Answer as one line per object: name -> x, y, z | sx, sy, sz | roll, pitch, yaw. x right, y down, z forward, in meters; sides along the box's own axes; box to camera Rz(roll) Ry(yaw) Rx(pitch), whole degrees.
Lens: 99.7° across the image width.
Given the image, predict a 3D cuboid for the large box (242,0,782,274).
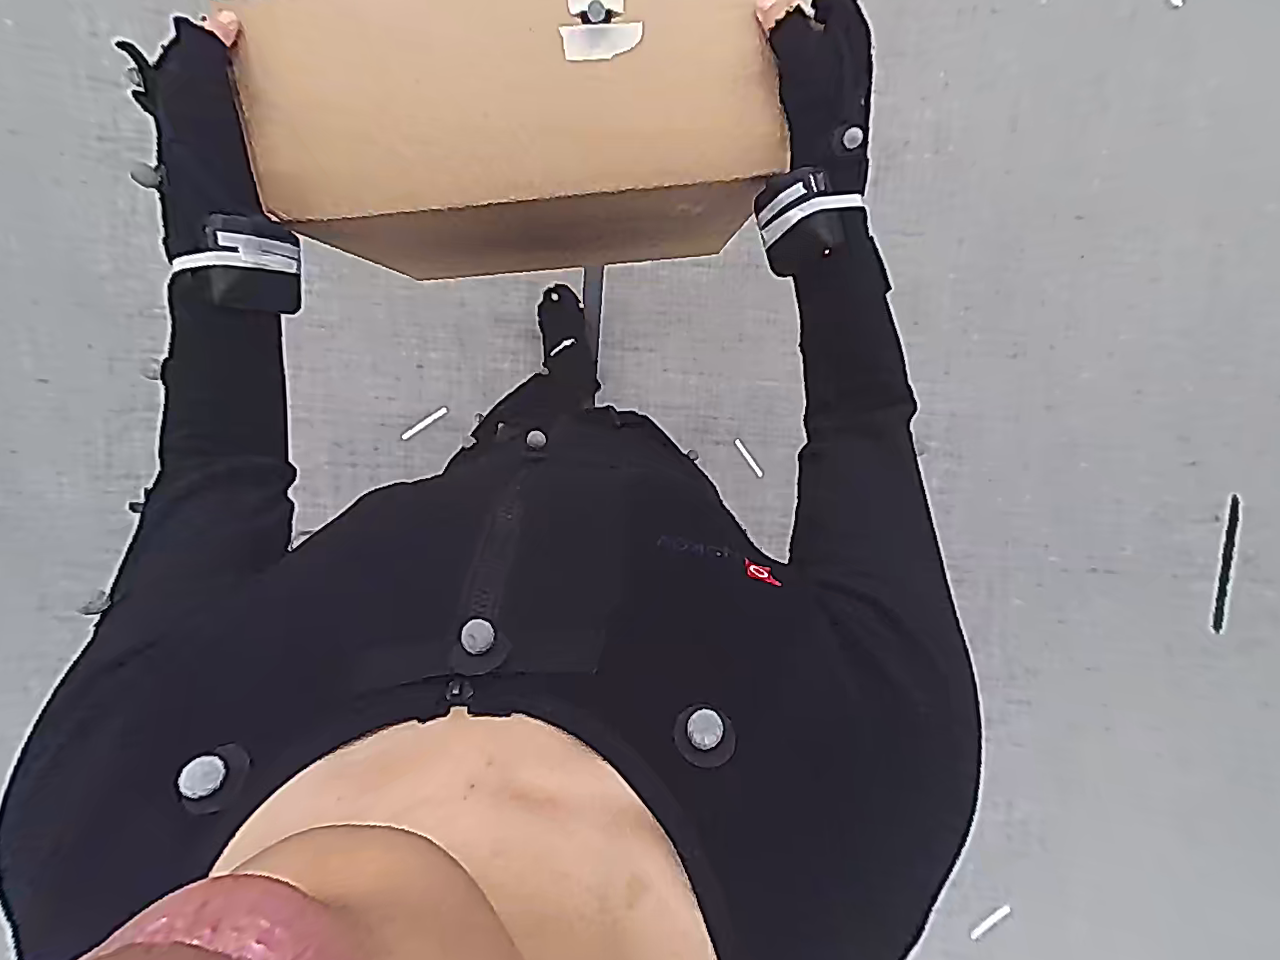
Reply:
large box -> -0.106, -0.413, 0.547 | 0.408, 0.320, 0.320 | -6, 103, -1
